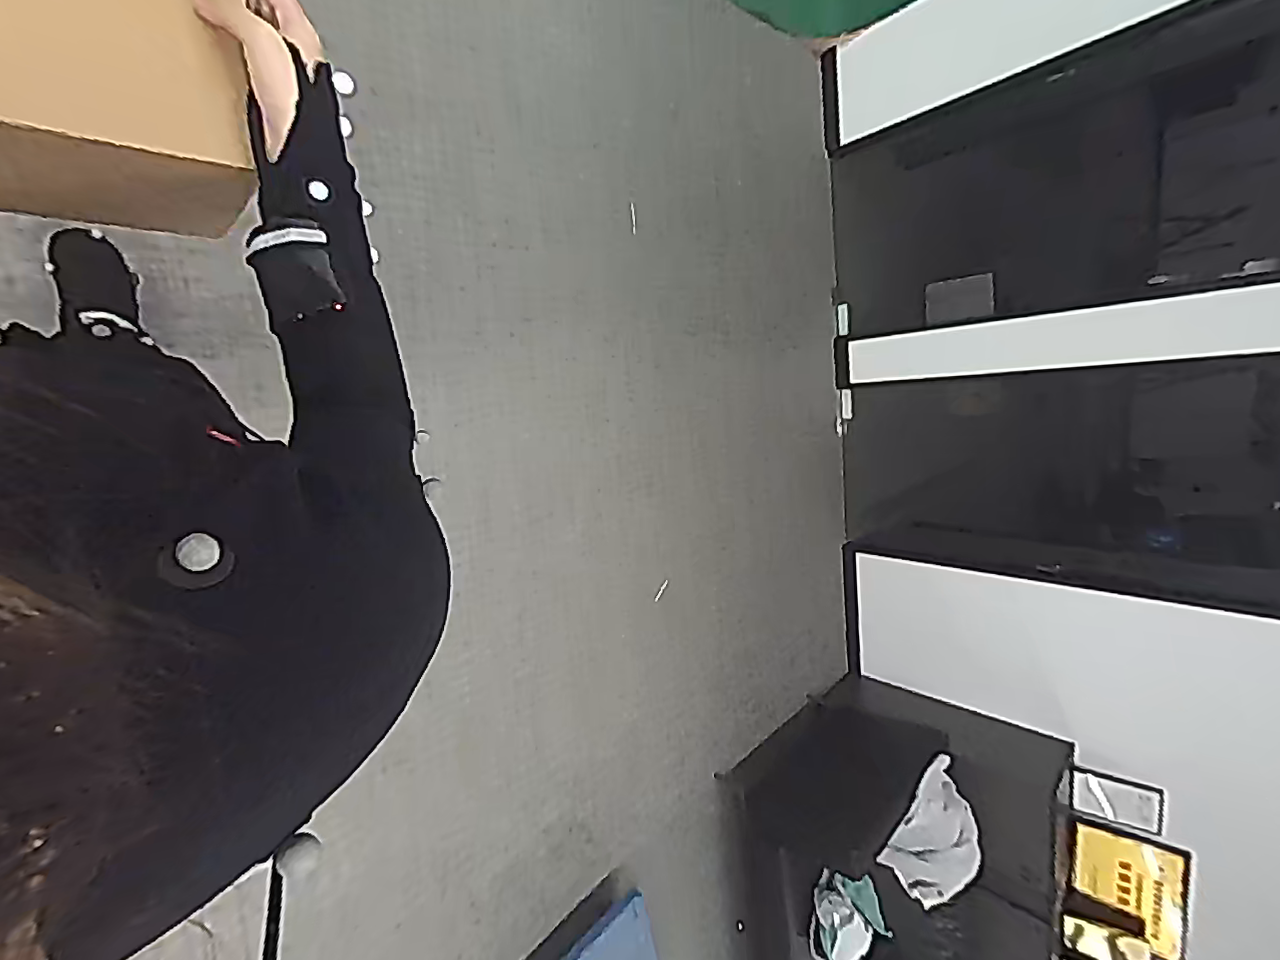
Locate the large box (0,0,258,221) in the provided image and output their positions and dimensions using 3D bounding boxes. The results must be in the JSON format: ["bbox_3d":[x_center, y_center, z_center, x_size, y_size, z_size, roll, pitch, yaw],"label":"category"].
[{"bbox_3d":[-0.542,-0.389,0.367,0.408,0.320,0.320,-11,106,-40],"label":"large box"}]
